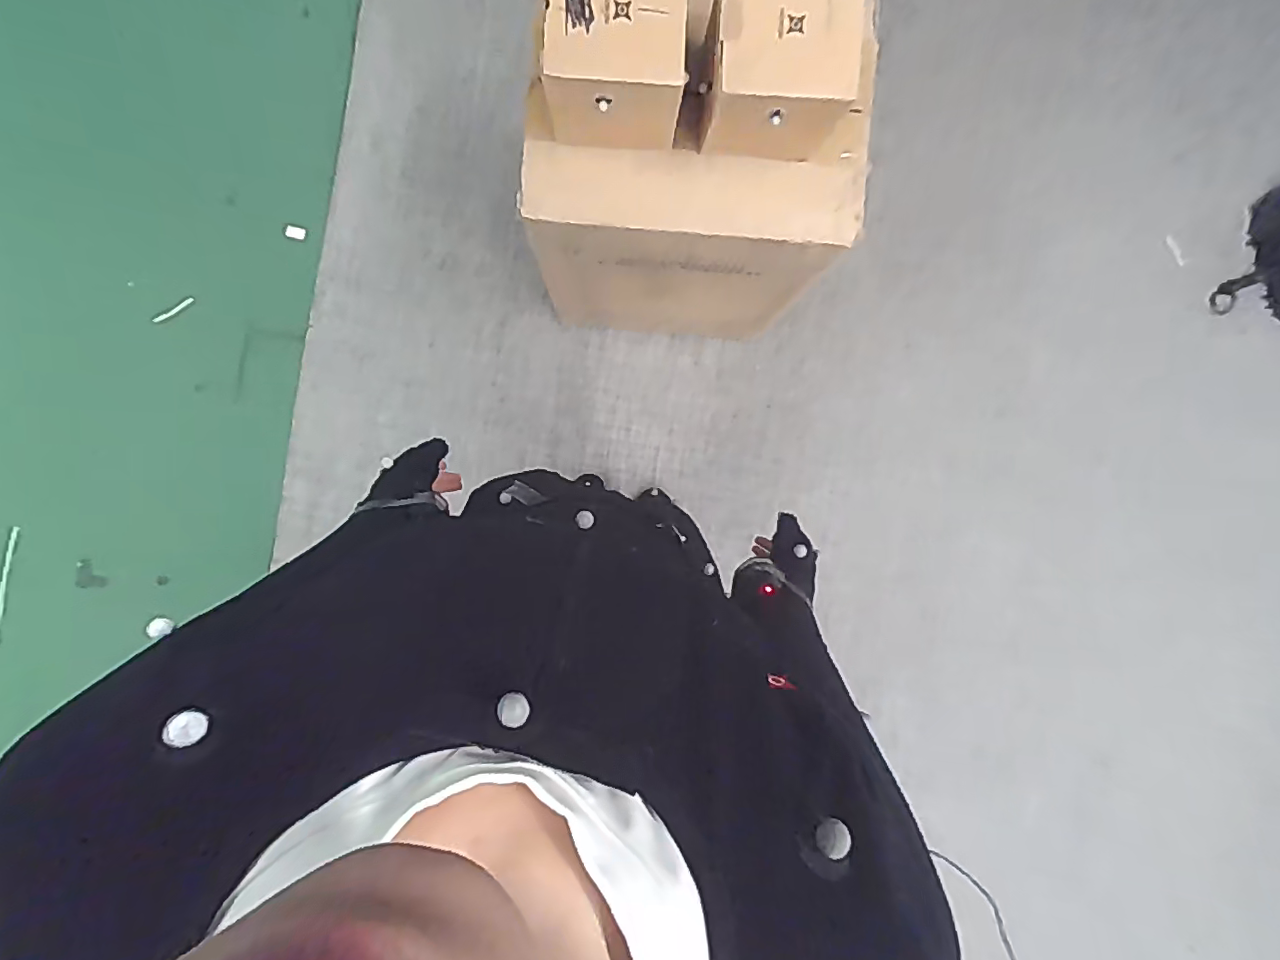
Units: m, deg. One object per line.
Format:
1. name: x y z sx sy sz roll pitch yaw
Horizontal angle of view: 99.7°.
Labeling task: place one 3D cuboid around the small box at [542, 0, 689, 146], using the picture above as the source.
1. small box: -0.031 -0.580 0.731 0.179 0.176 0.168 2 97 -3

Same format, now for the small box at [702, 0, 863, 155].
1. small box: 0.183 -0.571 0.741 0.179 0.176 0.168 1 98 -4
